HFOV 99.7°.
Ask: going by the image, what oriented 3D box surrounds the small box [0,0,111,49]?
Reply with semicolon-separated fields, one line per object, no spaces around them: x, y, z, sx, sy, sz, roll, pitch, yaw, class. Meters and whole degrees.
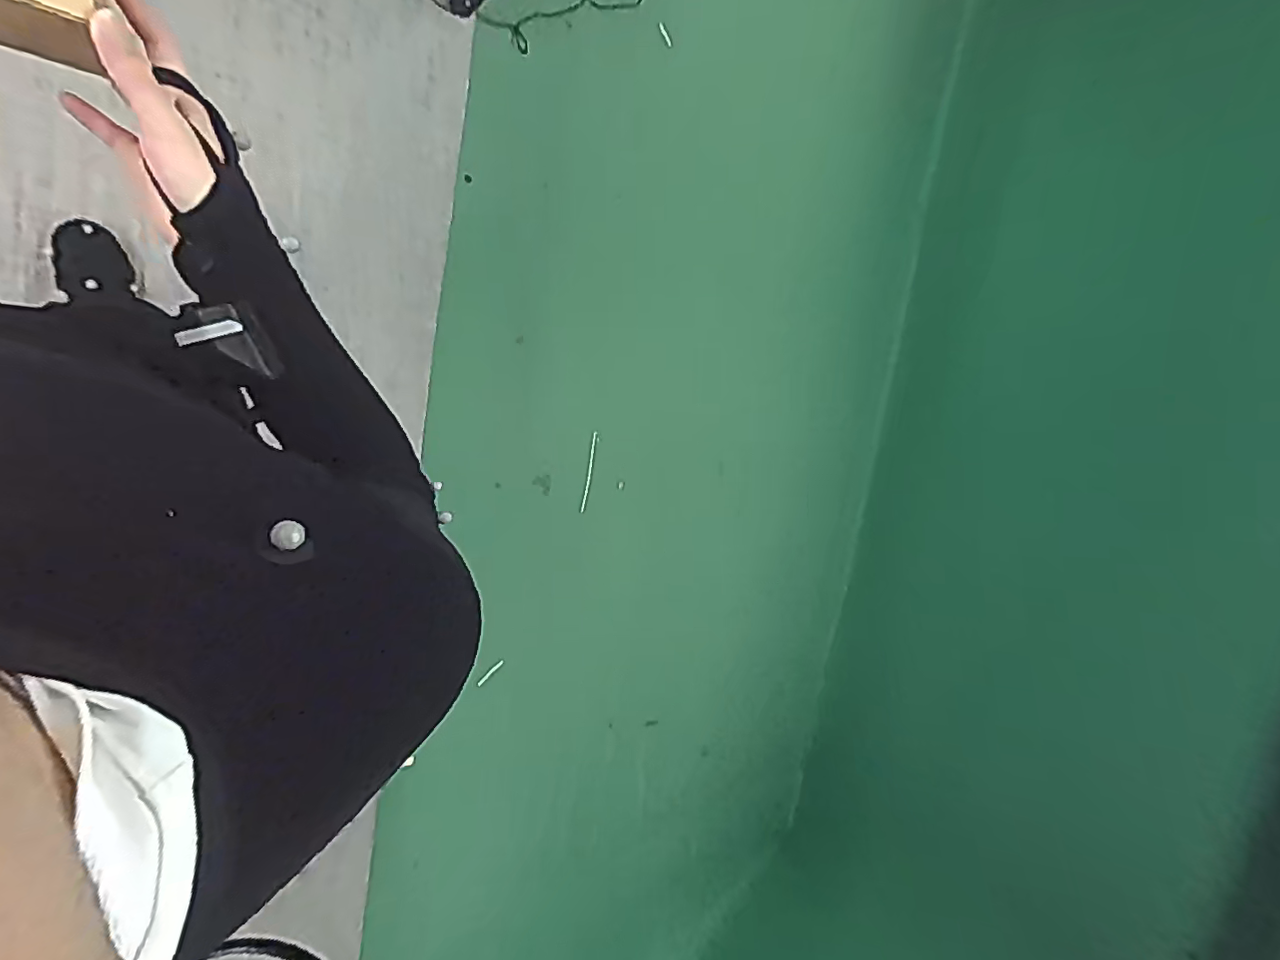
-0.403;-0.362;0.280;0.179;0.176;0.168;-4;112;-39;small box
